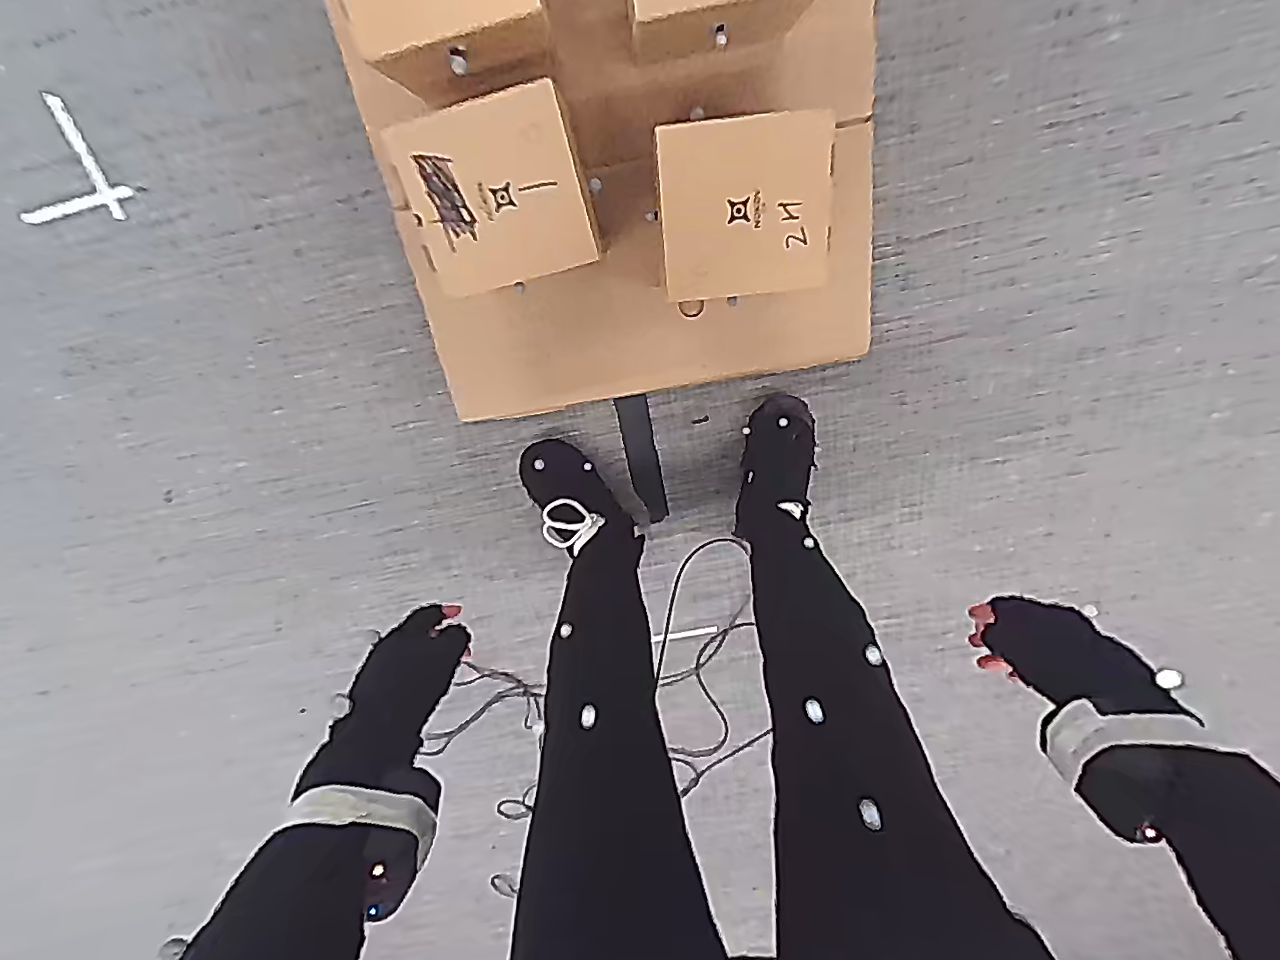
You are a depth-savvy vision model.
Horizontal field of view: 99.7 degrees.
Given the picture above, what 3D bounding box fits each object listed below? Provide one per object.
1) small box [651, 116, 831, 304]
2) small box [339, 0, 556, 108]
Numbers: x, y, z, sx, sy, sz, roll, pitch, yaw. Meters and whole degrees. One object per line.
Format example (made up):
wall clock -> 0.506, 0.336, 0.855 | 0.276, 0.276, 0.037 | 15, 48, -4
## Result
small box -> 0.105, -0.304, 0.628 | 0.179, 0.176, 0.168 | -5, 115, 2
small box -> -0.190, -0.498, 0.535 | 0.179, 0.176, 0.168 | -12, 114, 6
